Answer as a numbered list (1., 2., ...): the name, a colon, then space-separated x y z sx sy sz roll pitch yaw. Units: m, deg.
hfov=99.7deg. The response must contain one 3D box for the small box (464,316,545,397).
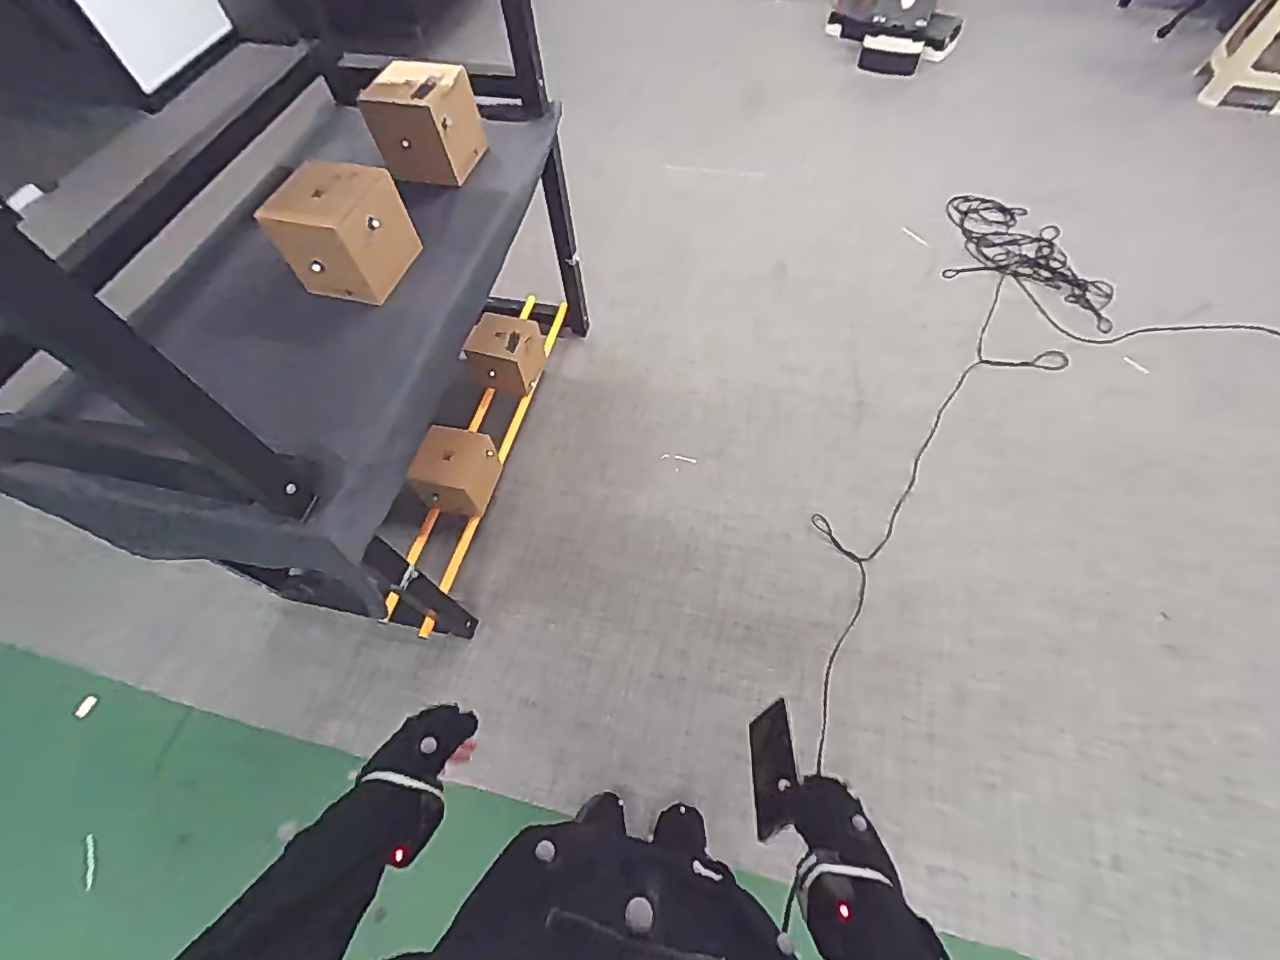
1. small box: -0.413 -0.379 1.686 0.179 0.176 0.168 14 61 10

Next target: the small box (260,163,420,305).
1. small box: -0.546 -0.458 1.016 0.168 0.176 0.179 13 62 10
